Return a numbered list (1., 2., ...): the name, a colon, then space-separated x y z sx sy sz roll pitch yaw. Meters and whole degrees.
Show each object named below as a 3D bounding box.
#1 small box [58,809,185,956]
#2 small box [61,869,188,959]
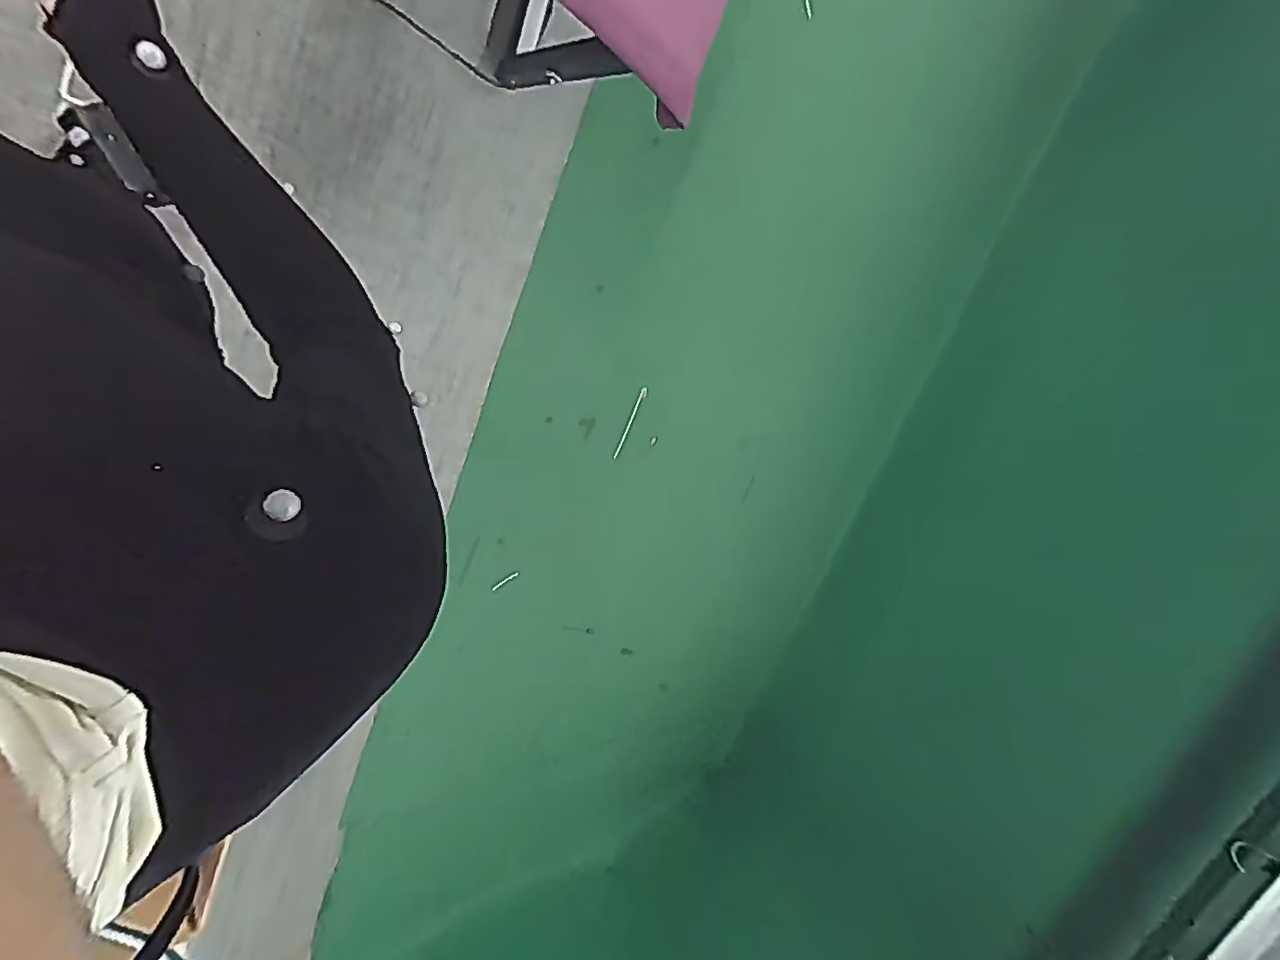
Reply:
1. small box: -1.125 0.863 1.182 0.179 0.176 0.168 11 107 -44
2. small box: -1.025 0.931 1.072 0.179 0.176 0.168 8 109 -44
